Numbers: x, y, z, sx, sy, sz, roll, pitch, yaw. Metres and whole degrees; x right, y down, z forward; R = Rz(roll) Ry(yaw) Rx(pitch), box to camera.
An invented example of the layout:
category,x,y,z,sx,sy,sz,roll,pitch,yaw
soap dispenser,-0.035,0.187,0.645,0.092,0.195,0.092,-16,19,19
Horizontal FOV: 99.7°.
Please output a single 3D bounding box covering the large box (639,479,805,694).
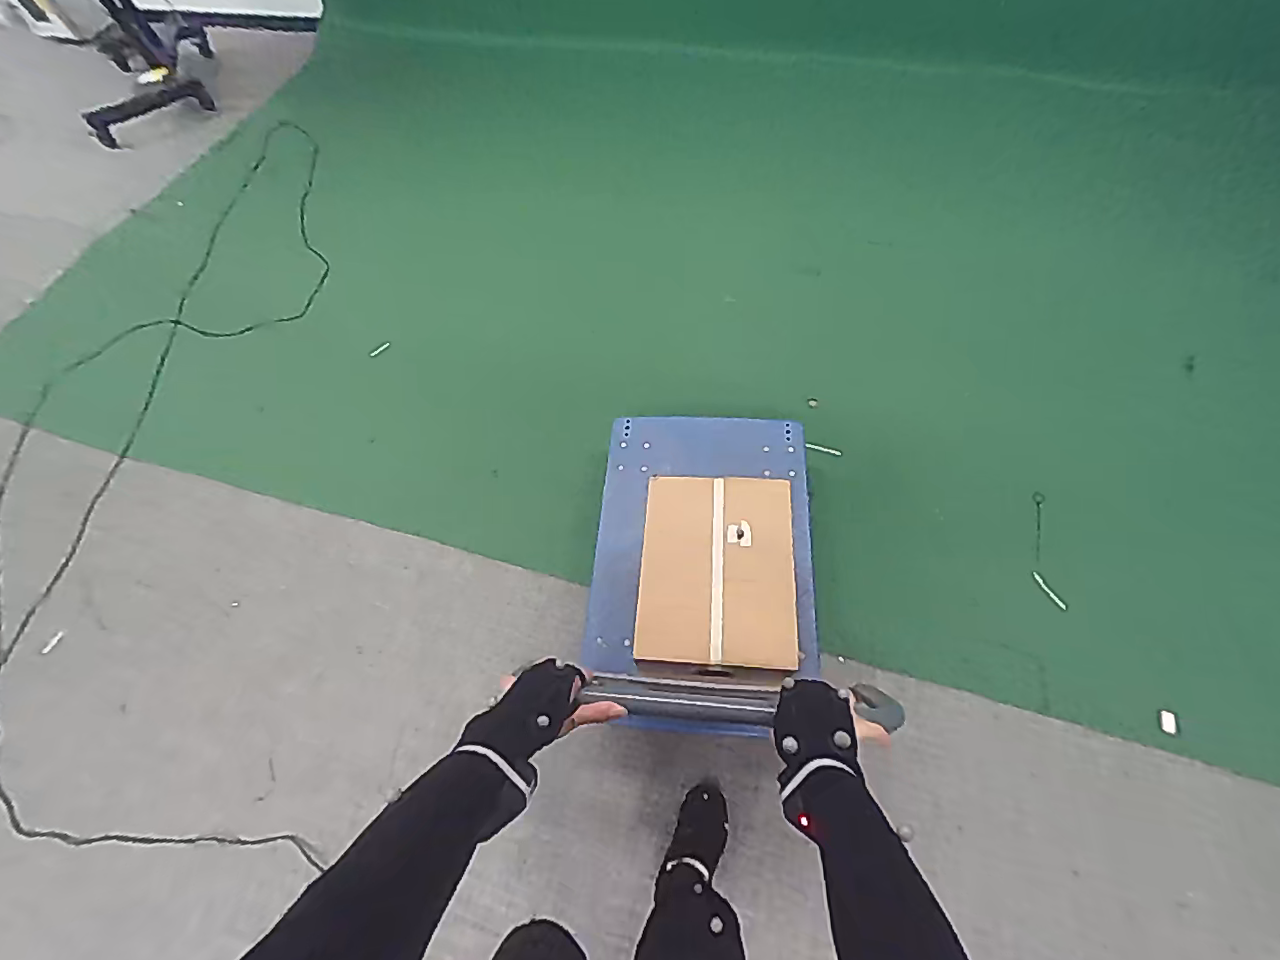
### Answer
category,x,y,z,sx,sy,sz,roll,pitch,yaw
large box,0.179,0.248,1.231,0.320,0.320,0.408,2,60,7
